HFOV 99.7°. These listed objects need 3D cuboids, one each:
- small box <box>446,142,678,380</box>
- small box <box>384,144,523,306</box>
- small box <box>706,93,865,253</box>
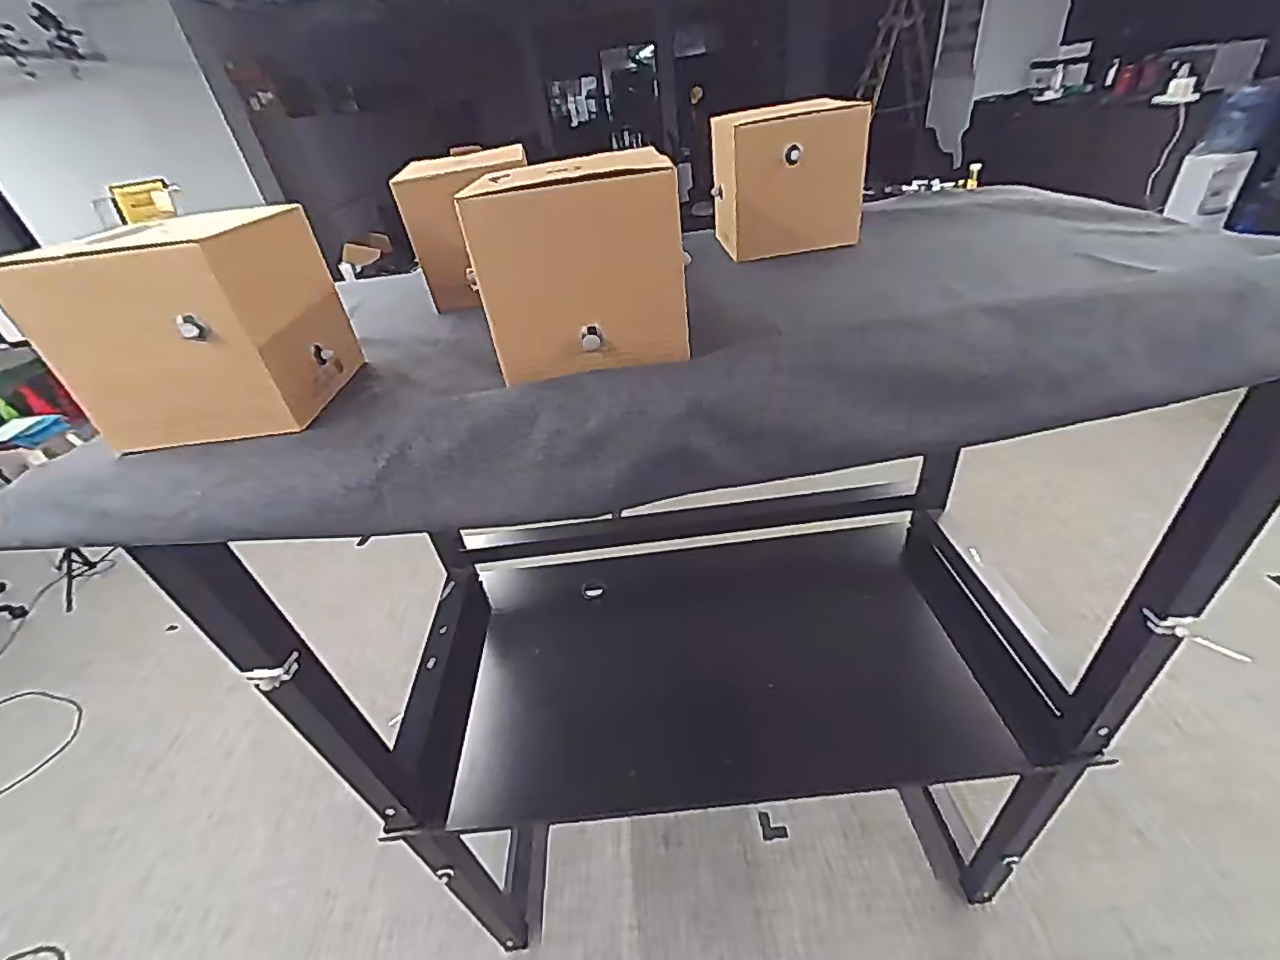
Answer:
[{"bbox_3d":[-0.059,-0.211,0.519,0.179,0.176,0.168,-8,34,0],"label":"small box"},{"bbox_3d":[-0.230,-0.360,0.763,0.168,0.176,0.179,-13,36,-3],"label":"small box"},{"bbox_3d":[0.197,-0.435,0.770,0.179,0.176,0.168,-8,36,1],"label":"small box"}]
